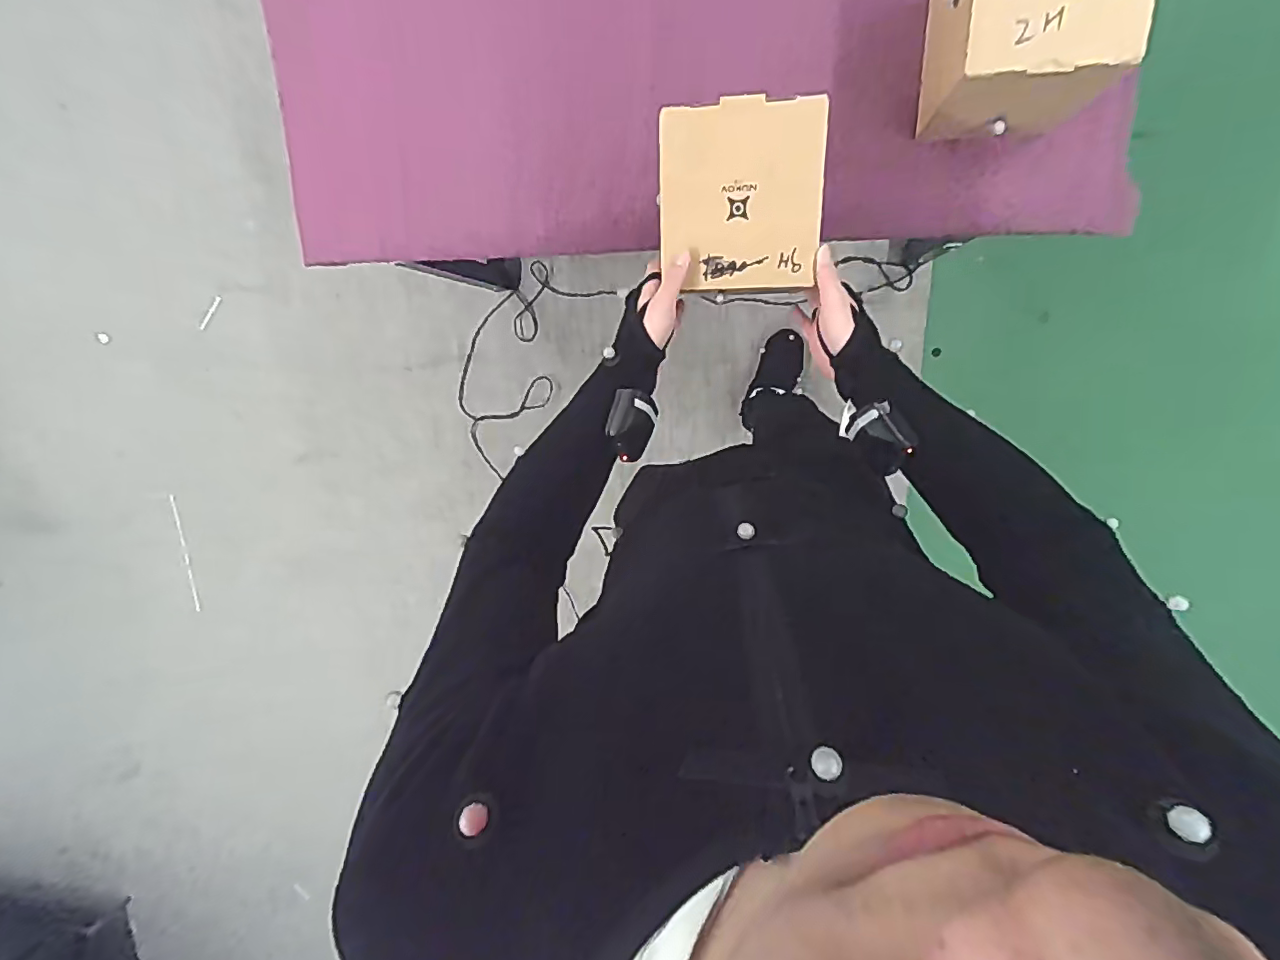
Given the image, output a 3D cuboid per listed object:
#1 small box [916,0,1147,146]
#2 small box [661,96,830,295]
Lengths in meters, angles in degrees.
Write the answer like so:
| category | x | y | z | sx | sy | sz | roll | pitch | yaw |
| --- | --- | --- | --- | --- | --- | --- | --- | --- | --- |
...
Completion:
| category | x | y | z | sx | sy | sz | roll | pitch | yaw |
| --- | --- | --- | --- | --- | --- | --- | --- | --- | --- |
| small box | 0.432 | -0.513 | 0.617 | 0.168 | 0.176 | 0.179 | 3 | 102 | 11 |
| small box | 0.116 | -0.312 | 0.630 | 0.168 | 0.176 | 0.179 | 2 | 107 | 10 |
